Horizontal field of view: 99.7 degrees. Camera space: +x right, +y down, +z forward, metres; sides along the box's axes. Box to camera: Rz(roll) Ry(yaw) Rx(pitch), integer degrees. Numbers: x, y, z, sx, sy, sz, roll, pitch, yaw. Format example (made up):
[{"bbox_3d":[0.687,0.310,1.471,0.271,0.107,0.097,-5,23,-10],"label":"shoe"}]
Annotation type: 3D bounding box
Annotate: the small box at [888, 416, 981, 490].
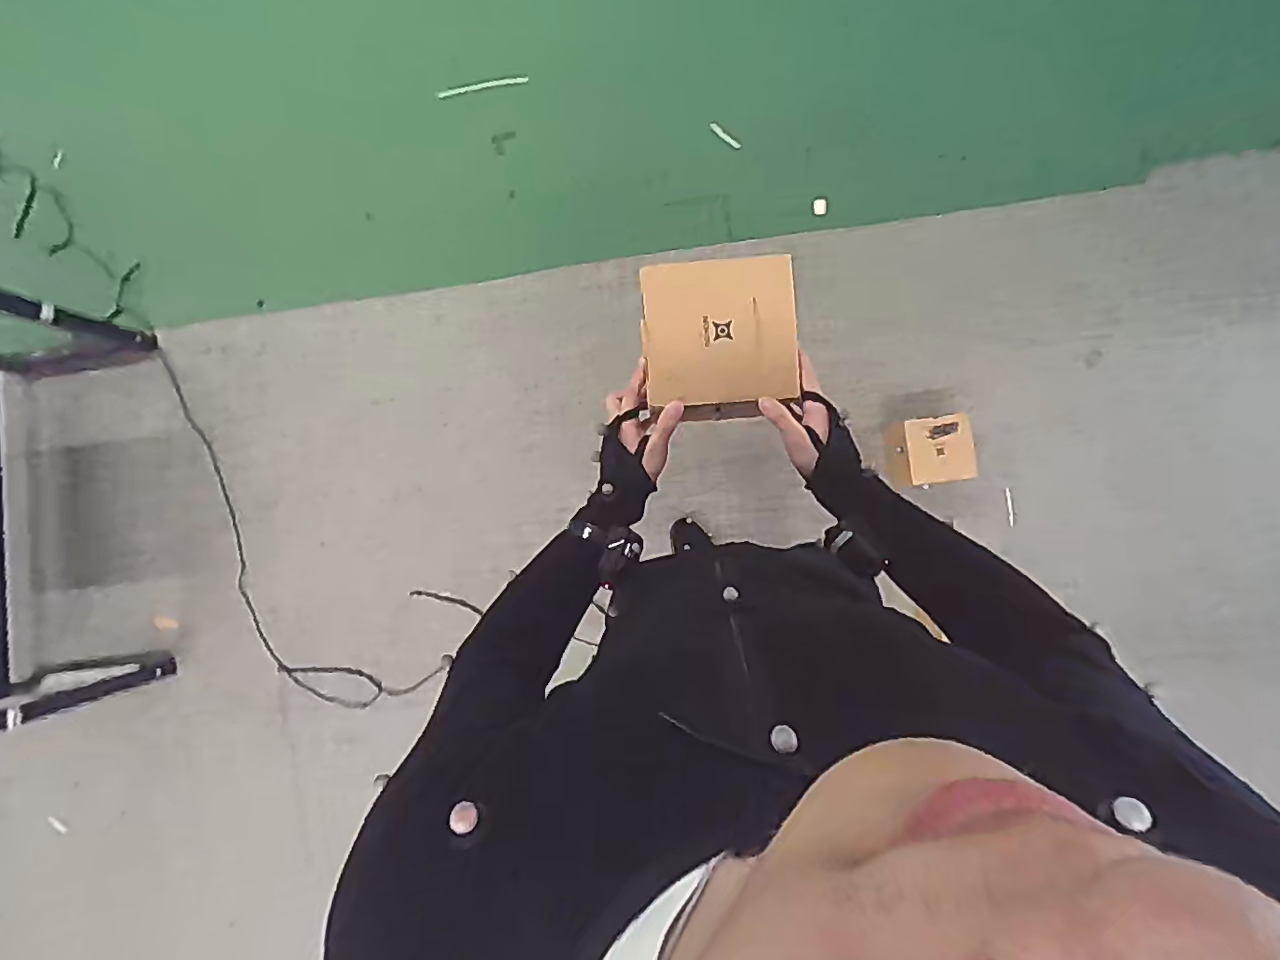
[{"bbox_3d":[0.798,-0.068,1.485,0.168,0.176,0.179,-7,87,6],"label":"small box"}]
